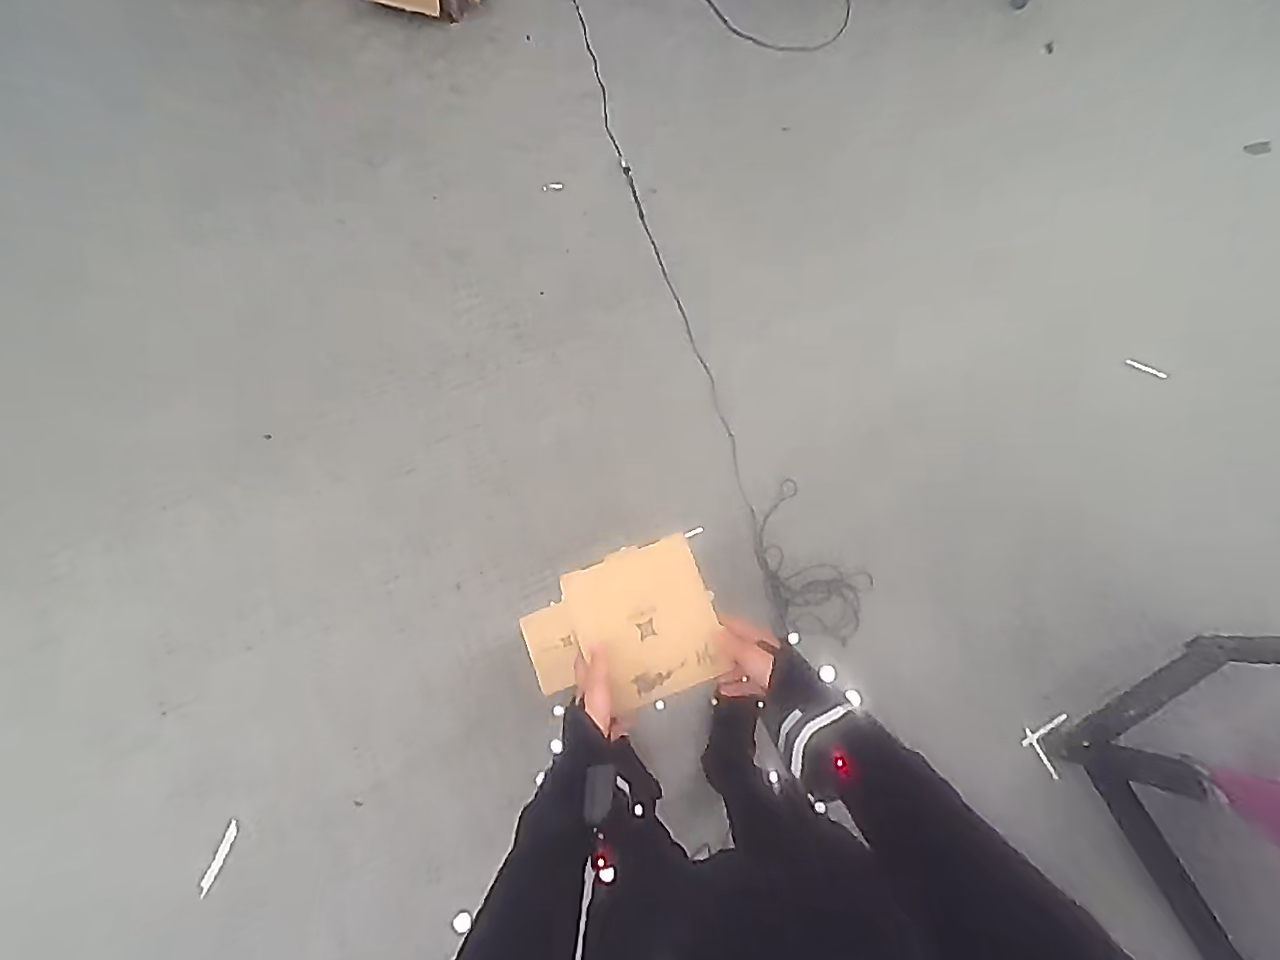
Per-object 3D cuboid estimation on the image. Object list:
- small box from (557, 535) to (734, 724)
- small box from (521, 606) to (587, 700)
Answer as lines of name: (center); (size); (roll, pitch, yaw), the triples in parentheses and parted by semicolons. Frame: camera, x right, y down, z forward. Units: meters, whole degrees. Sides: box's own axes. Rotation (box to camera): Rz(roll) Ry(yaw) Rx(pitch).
small box: (0.008, 0.191, 0.710); (0.168, 0.176, 0.179); (-21, 76, -1)
small box: (-0.139, 0.355, 1.178); (0.179, 0.176, 0.168); (-22, 77, -6)
